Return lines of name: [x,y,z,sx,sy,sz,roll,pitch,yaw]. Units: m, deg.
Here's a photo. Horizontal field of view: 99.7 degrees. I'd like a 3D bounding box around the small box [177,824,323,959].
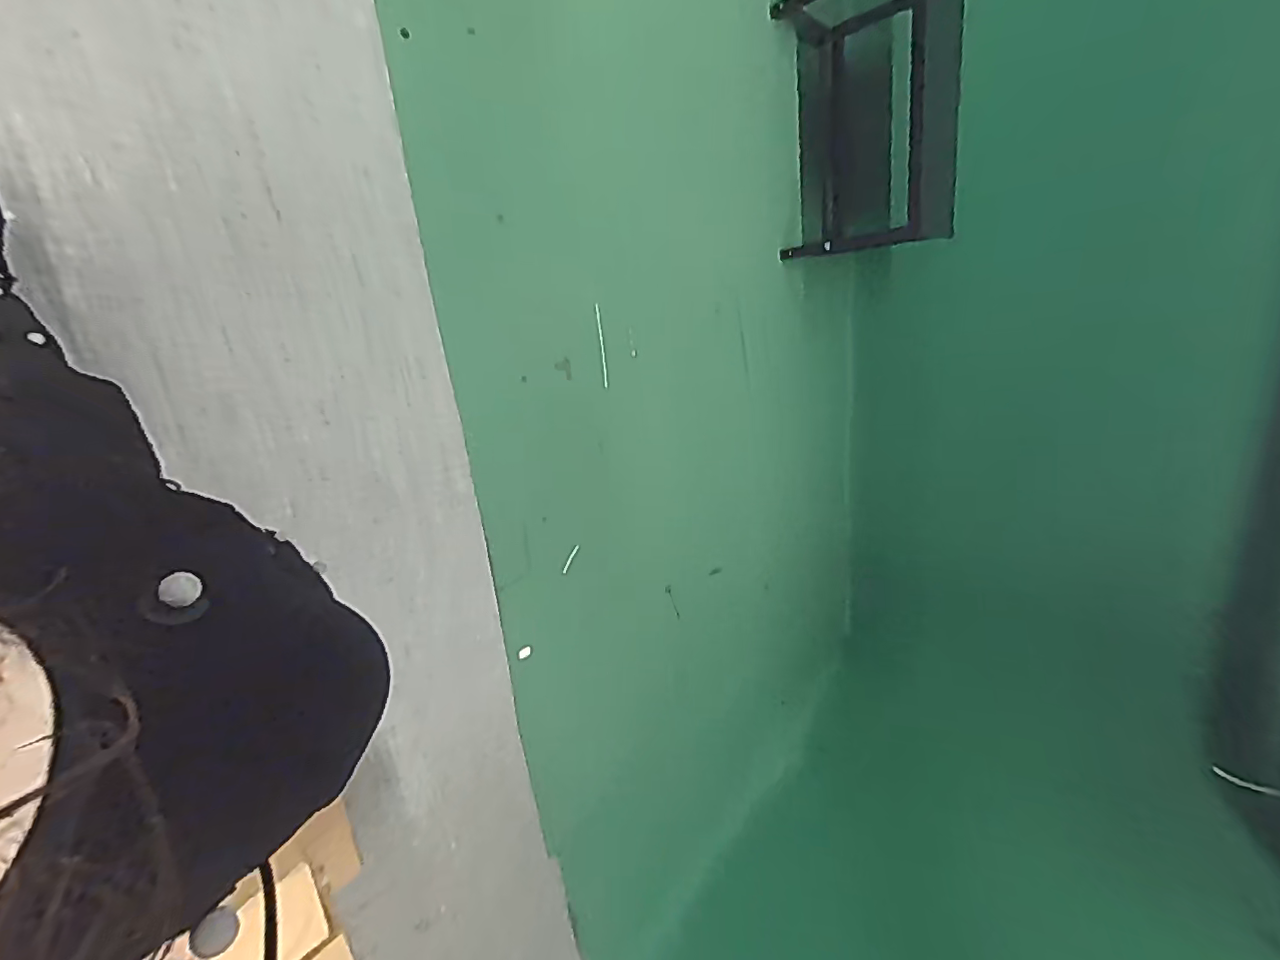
small box: [-0.725,0.797,1.006,0.168,0.176,0.179,-21,109,-46]
